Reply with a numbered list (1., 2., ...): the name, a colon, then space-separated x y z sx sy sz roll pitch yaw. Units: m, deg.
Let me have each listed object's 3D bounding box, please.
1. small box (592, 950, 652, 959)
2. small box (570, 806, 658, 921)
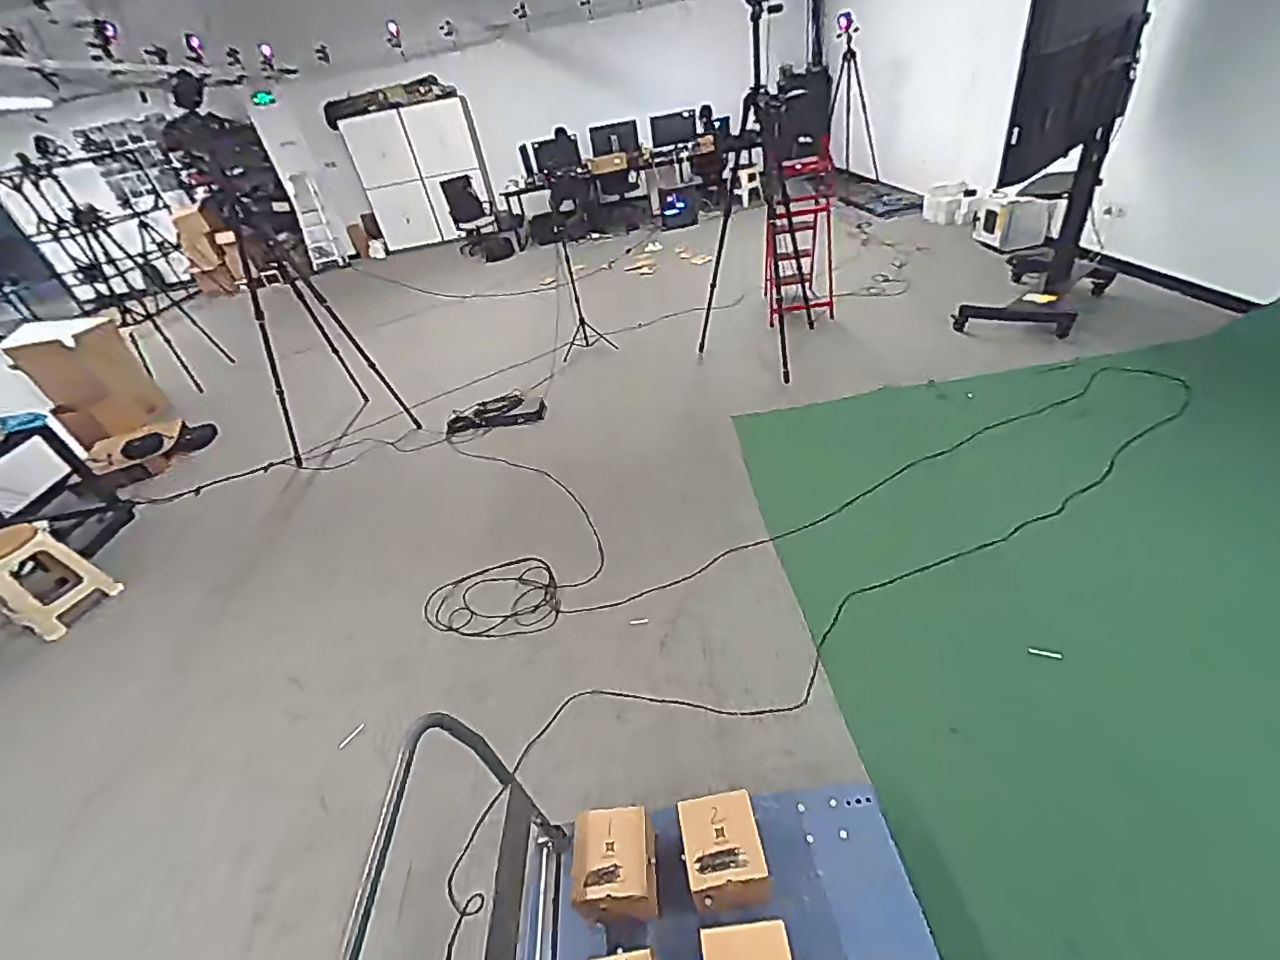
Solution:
1. small box: -0.037 1.034 1.023 0.168 0.176 0.179 -11 37 1
2. small box: -0.053 0.879 1.235 0.168 0.176 0.179 -8 36 5
